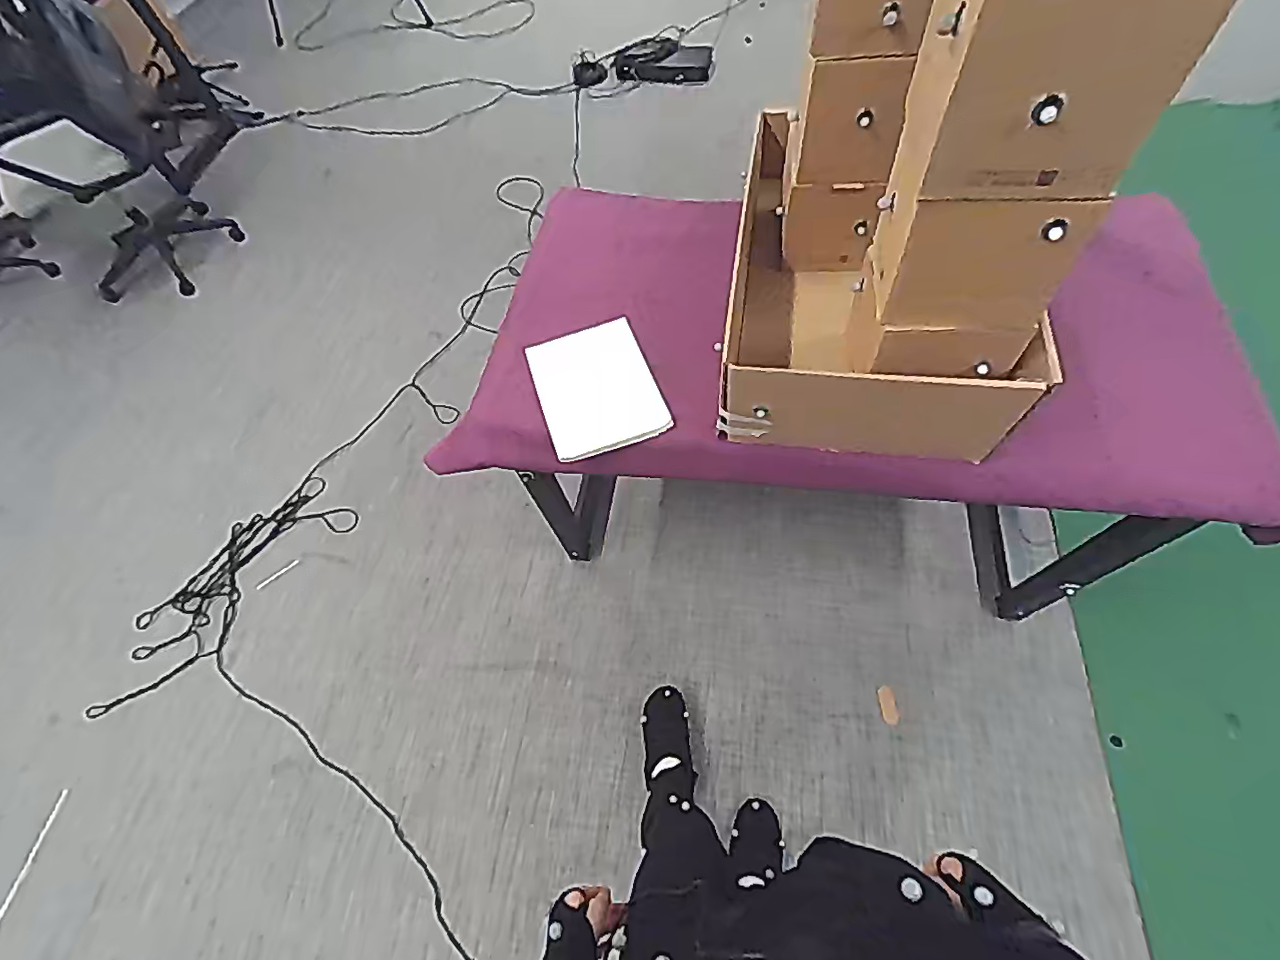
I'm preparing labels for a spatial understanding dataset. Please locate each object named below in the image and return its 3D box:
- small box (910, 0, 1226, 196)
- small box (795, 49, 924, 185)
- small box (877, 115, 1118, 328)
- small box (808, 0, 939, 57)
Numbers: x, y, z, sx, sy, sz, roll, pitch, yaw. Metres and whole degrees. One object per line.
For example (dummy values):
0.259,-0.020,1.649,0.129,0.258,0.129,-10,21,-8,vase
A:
0.354,-0.377,0.480,0.168,0.176,0.179,6,60,11,small box
0.325,-0.550,0.775,0.179,0.176,0.168,3,62,9,small box
0.380,-0.293,0.620,0.179,0.176,0.168,6,60,11,small box
0.305,-0.631,0.634,0.179,0.176,0.168,6,63,9,small box
